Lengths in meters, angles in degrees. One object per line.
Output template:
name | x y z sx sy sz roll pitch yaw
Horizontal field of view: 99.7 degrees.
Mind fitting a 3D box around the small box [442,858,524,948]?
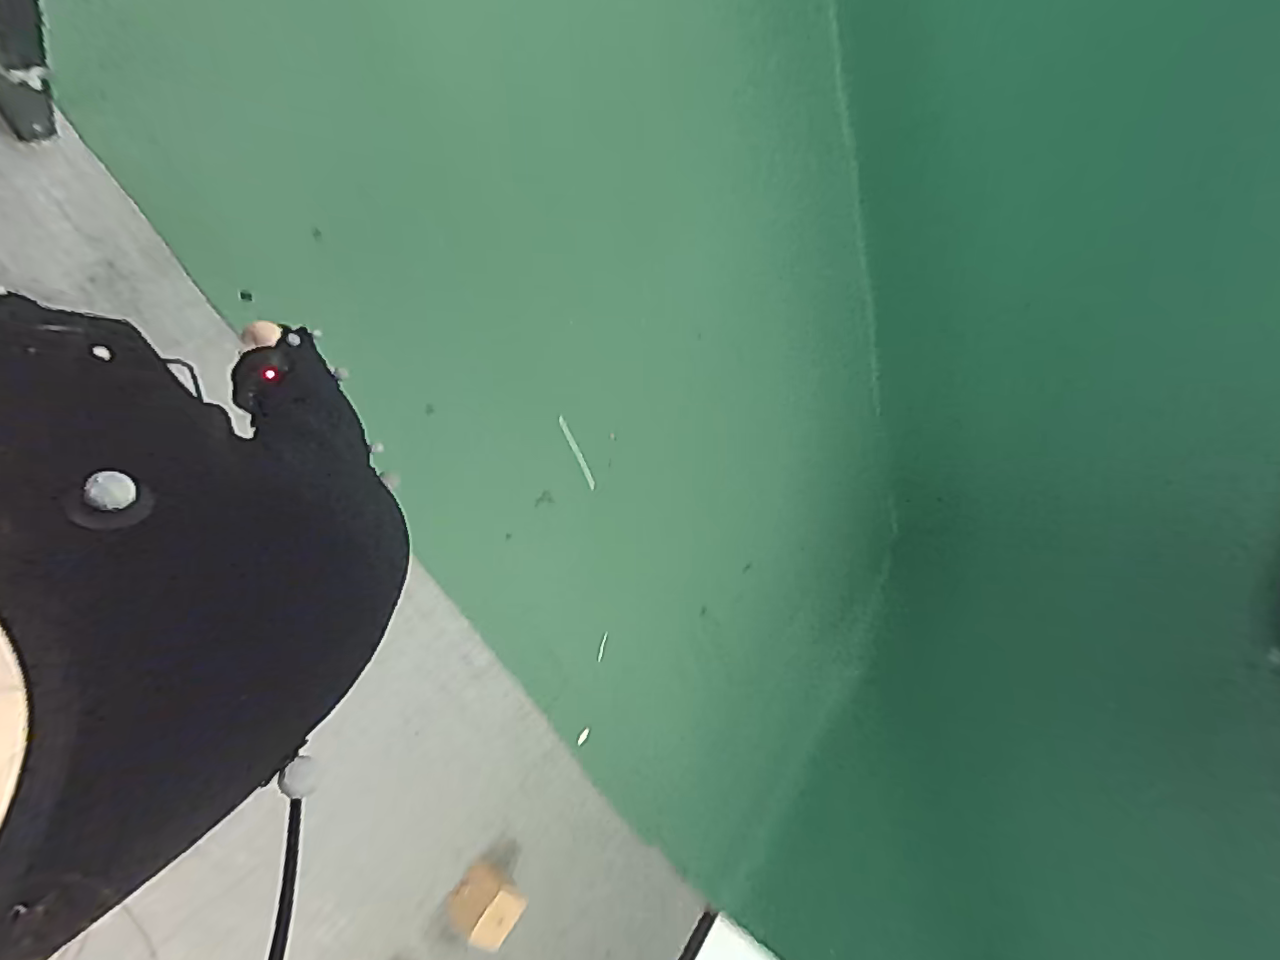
small box | -0.541 1.452 1.864 0.168 0.176 0.179 -49 130 -28
